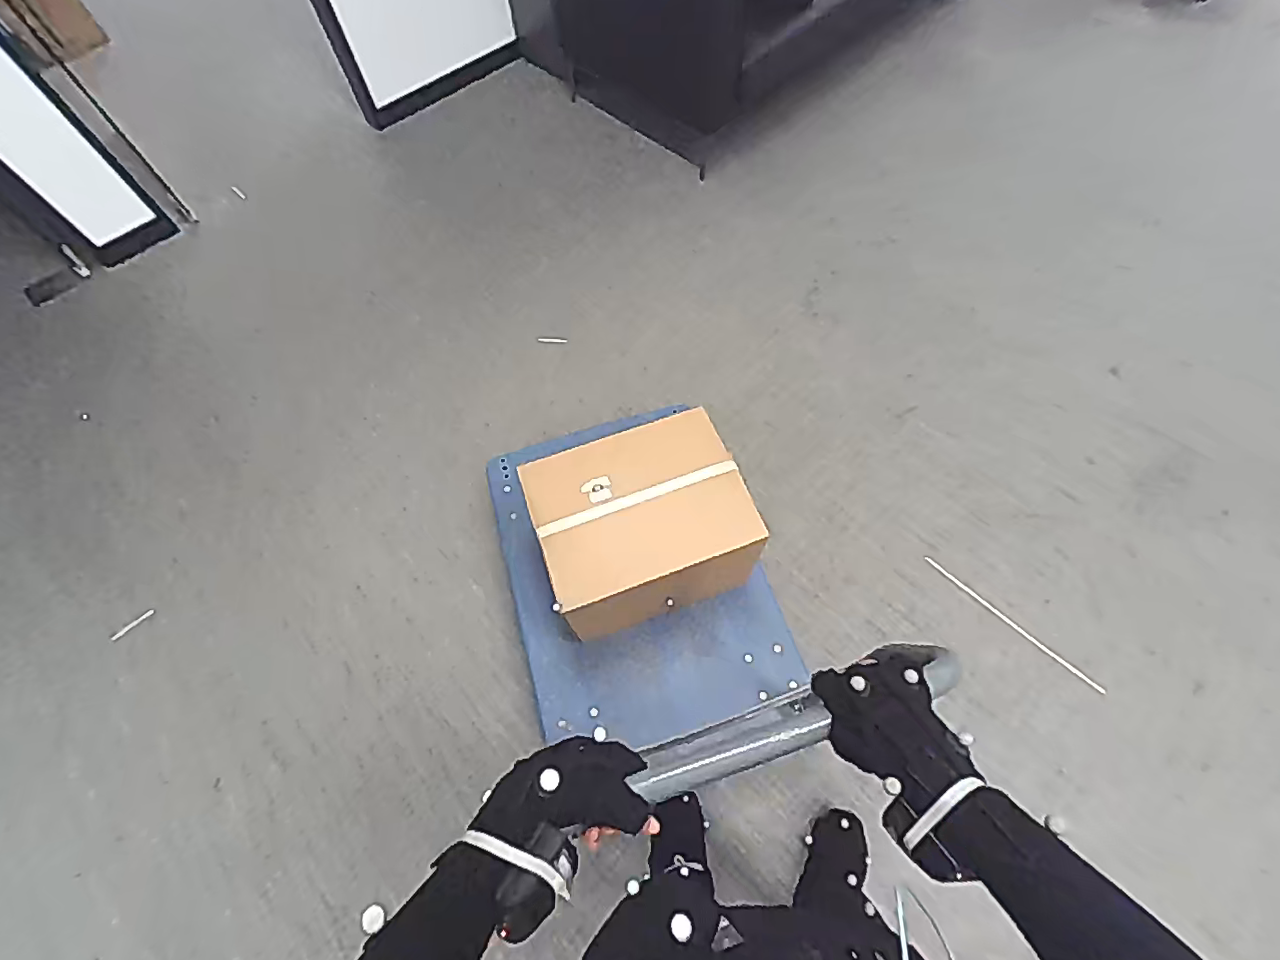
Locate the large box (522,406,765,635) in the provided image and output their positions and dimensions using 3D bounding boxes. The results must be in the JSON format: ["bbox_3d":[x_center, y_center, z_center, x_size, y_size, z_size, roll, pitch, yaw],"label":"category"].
[{"bbox_3d":[0.005,0.101,1.182,0.408,0.320,0.320,-20,64,-7],"label":"large box"}]
